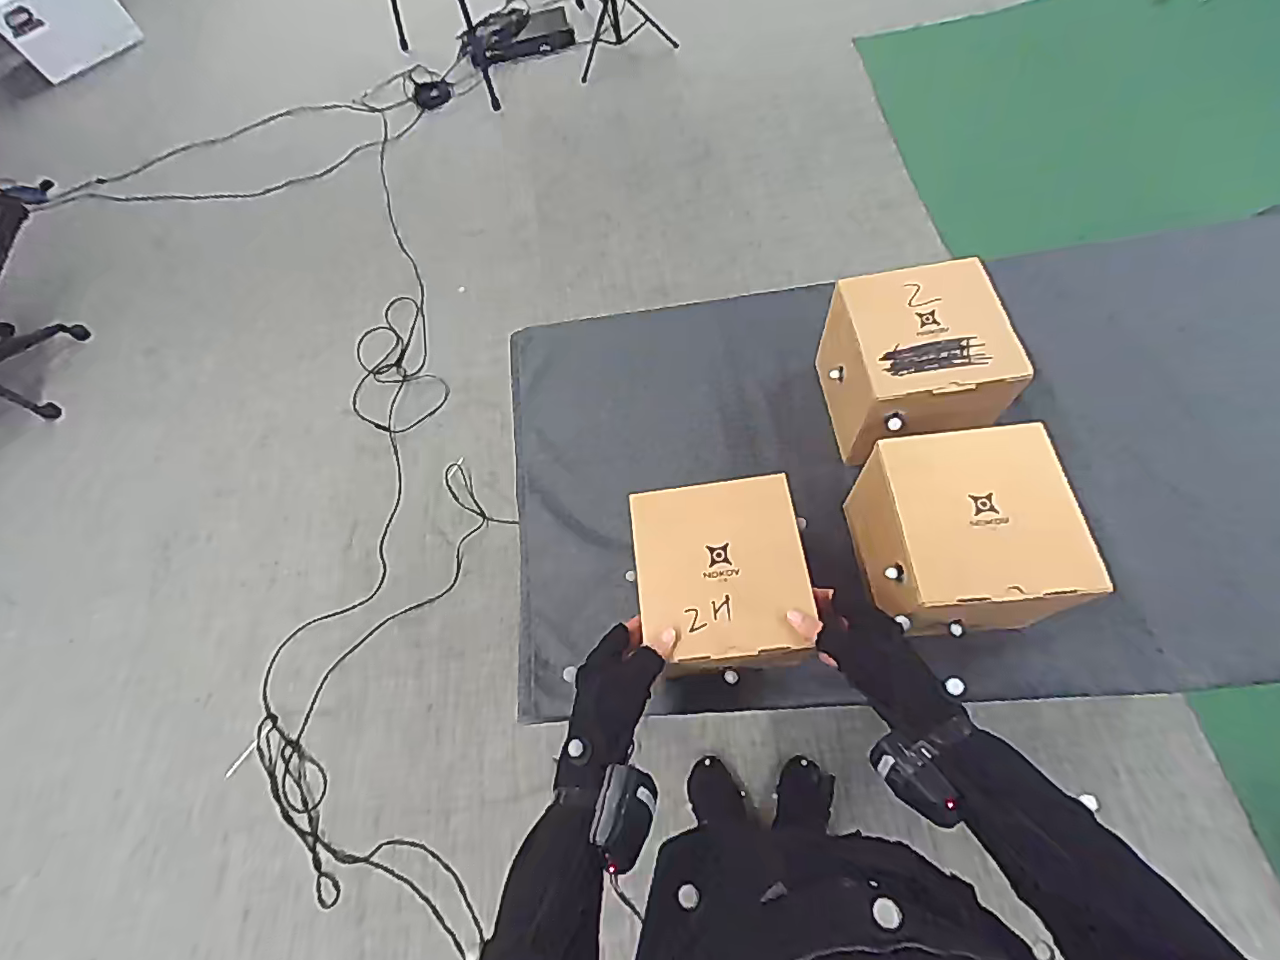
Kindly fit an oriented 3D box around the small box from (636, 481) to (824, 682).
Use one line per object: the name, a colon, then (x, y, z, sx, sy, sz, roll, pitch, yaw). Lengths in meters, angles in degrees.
small box: (0.092, 0.122, 0.607, 0.168, 0.176, 0.179, -8, 65, 5)
